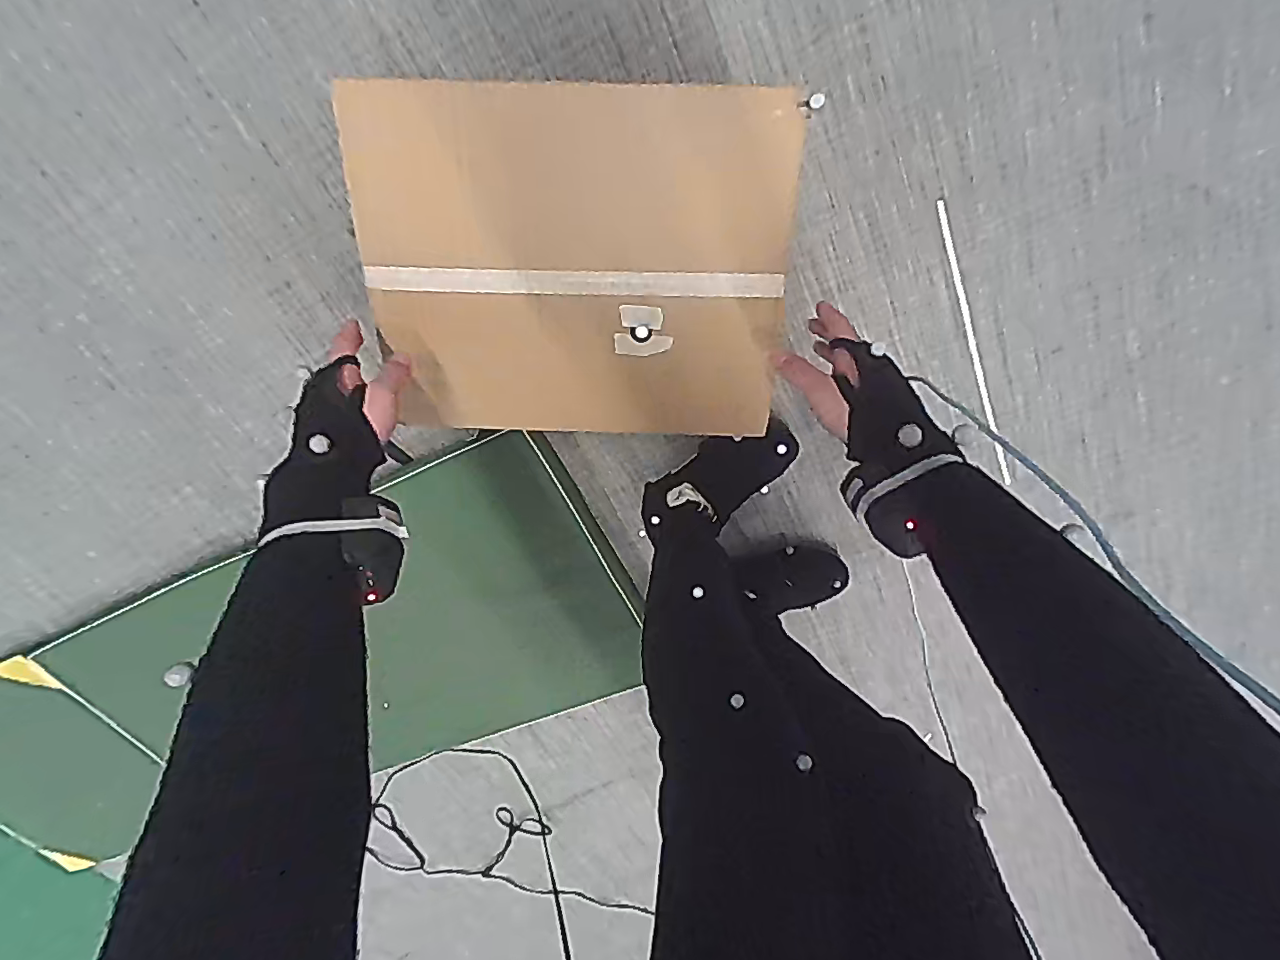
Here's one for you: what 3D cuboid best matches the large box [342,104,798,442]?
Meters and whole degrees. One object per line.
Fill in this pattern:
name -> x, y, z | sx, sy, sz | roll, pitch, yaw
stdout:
large box -> -0.062, -0.244, 0.662 | 0.408, 0.320, 0.320 | 1, 117, 0
